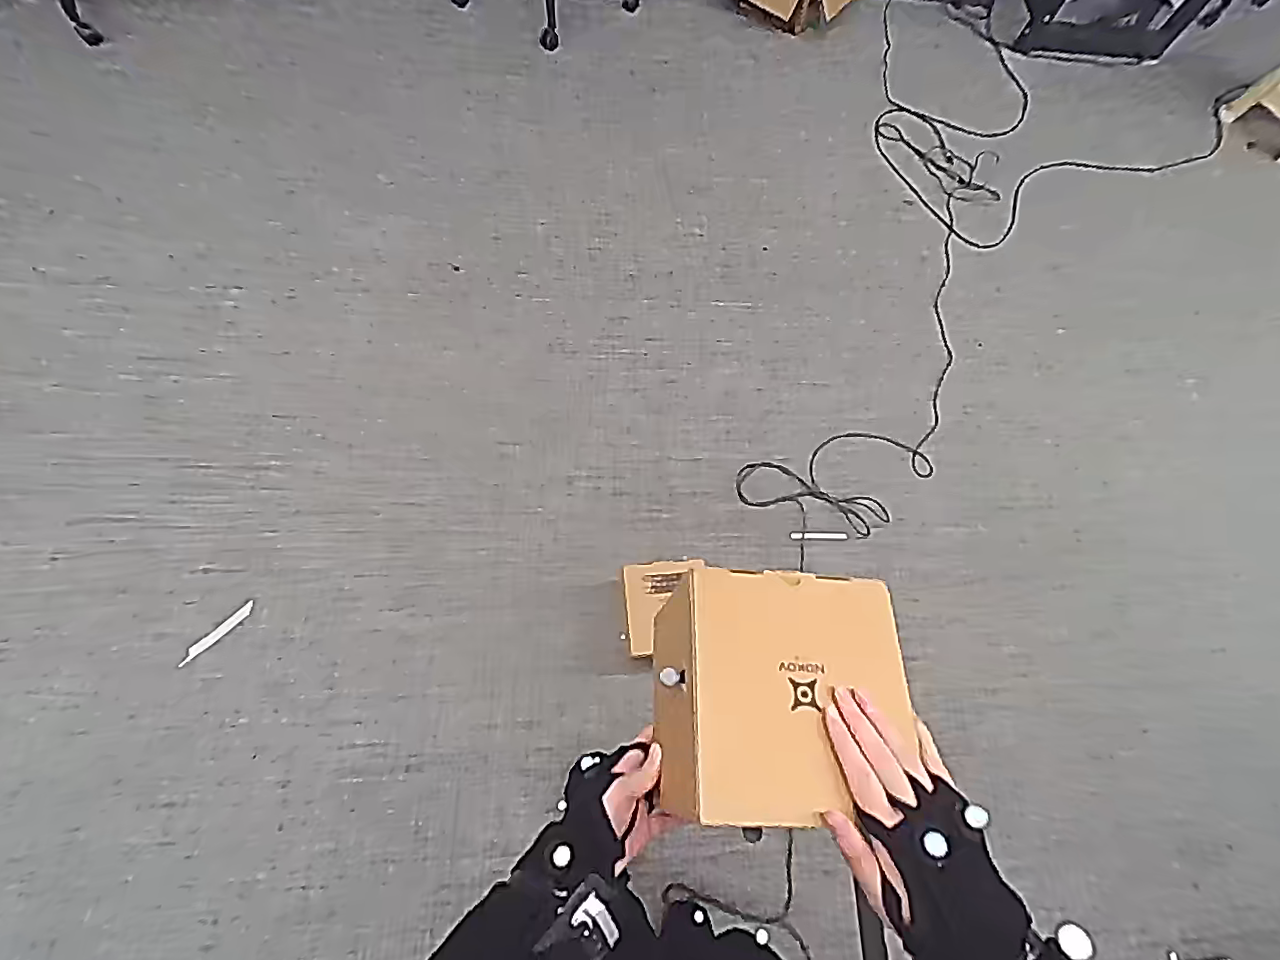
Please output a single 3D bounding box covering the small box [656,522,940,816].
[{"bbox_3d":[0.117,0.154,0.446,0.179,0.176,0.168,-9,43,6],"label":"small box"}]
